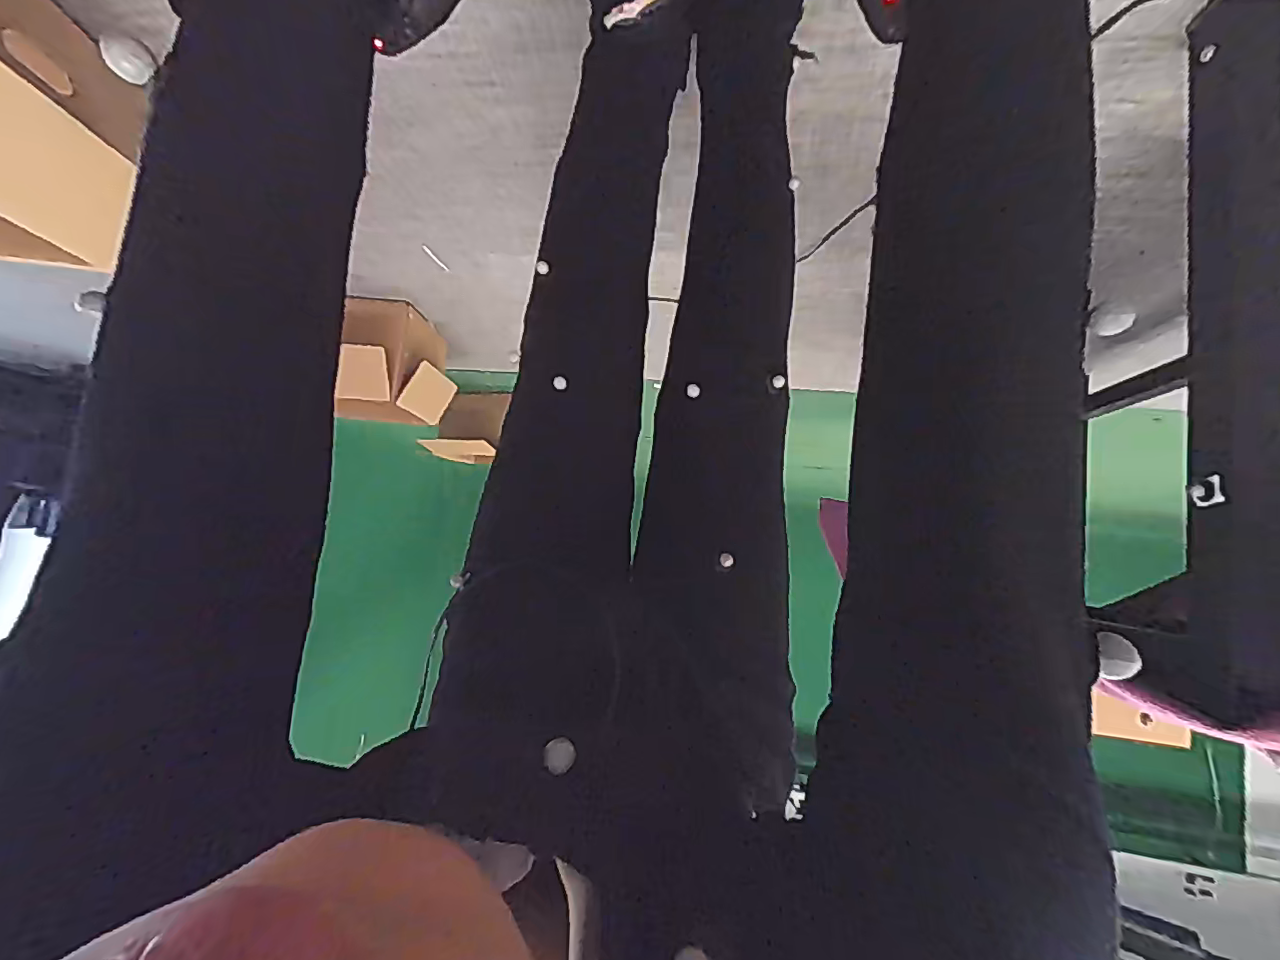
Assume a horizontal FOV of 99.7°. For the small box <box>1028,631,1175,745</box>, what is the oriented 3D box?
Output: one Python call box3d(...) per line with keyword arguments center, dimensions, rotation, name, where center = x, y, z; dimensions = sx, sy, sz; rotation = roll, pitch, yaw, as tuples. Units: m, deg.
box3d(center=(0.944, 0.419, 1.115), dimensions=(0.179, 0.176, 0.168), rotation=(6, 173, 7), name="small box")
